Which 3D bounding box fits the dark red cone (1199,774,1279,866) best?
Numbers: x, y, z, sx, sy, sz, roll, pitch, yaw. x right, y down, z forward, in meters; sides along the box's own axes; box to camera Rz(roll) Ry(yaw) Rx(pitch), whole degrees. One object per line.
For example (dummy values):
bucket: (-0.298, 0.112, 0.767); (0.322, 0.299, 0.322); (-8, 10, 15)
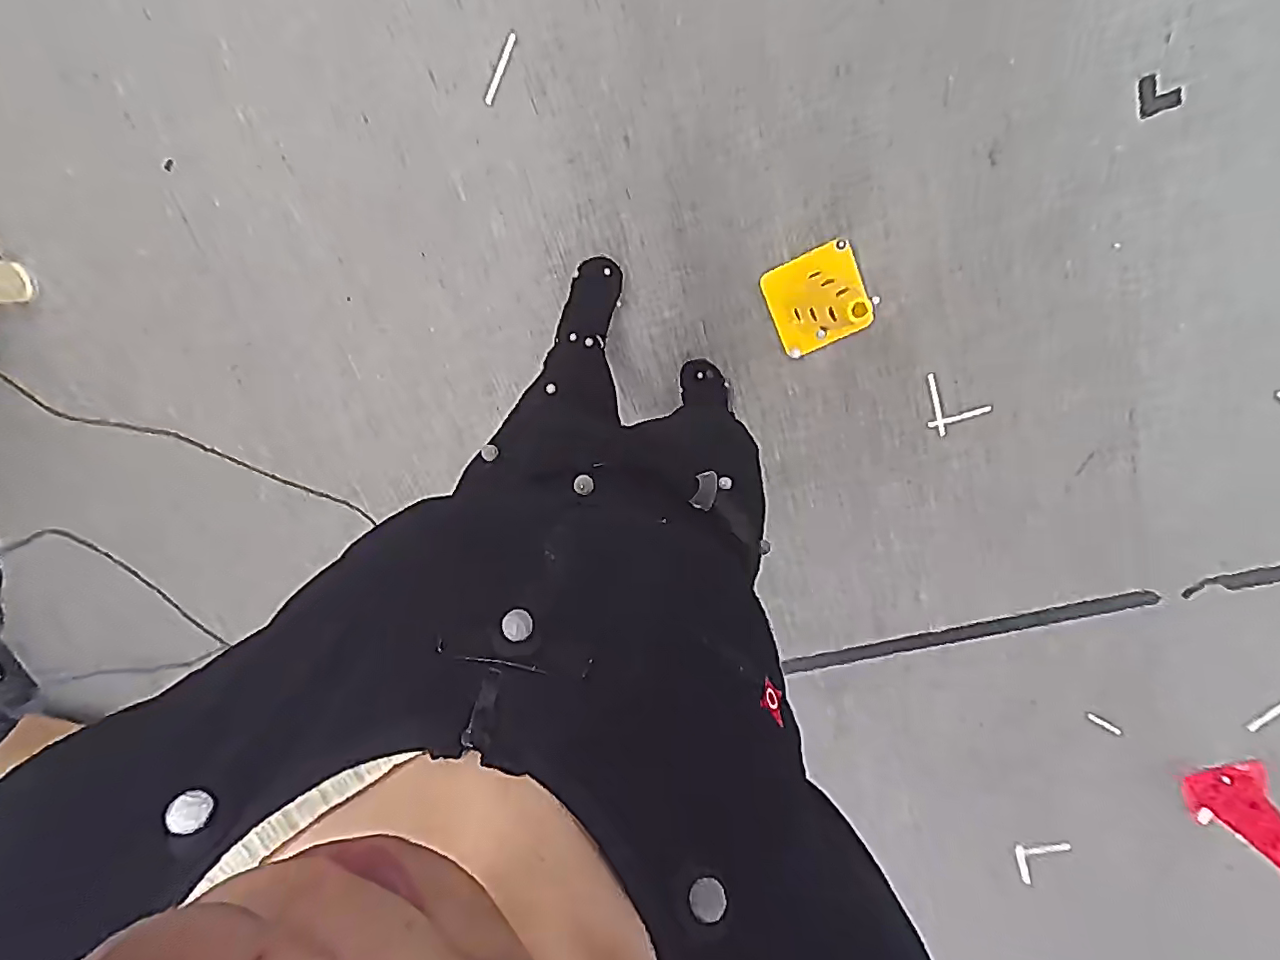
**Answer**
dark red cone: (1.642, 0.948, 1.331); (0.202, 0.394, 0.201); (-24, 105, 14)
